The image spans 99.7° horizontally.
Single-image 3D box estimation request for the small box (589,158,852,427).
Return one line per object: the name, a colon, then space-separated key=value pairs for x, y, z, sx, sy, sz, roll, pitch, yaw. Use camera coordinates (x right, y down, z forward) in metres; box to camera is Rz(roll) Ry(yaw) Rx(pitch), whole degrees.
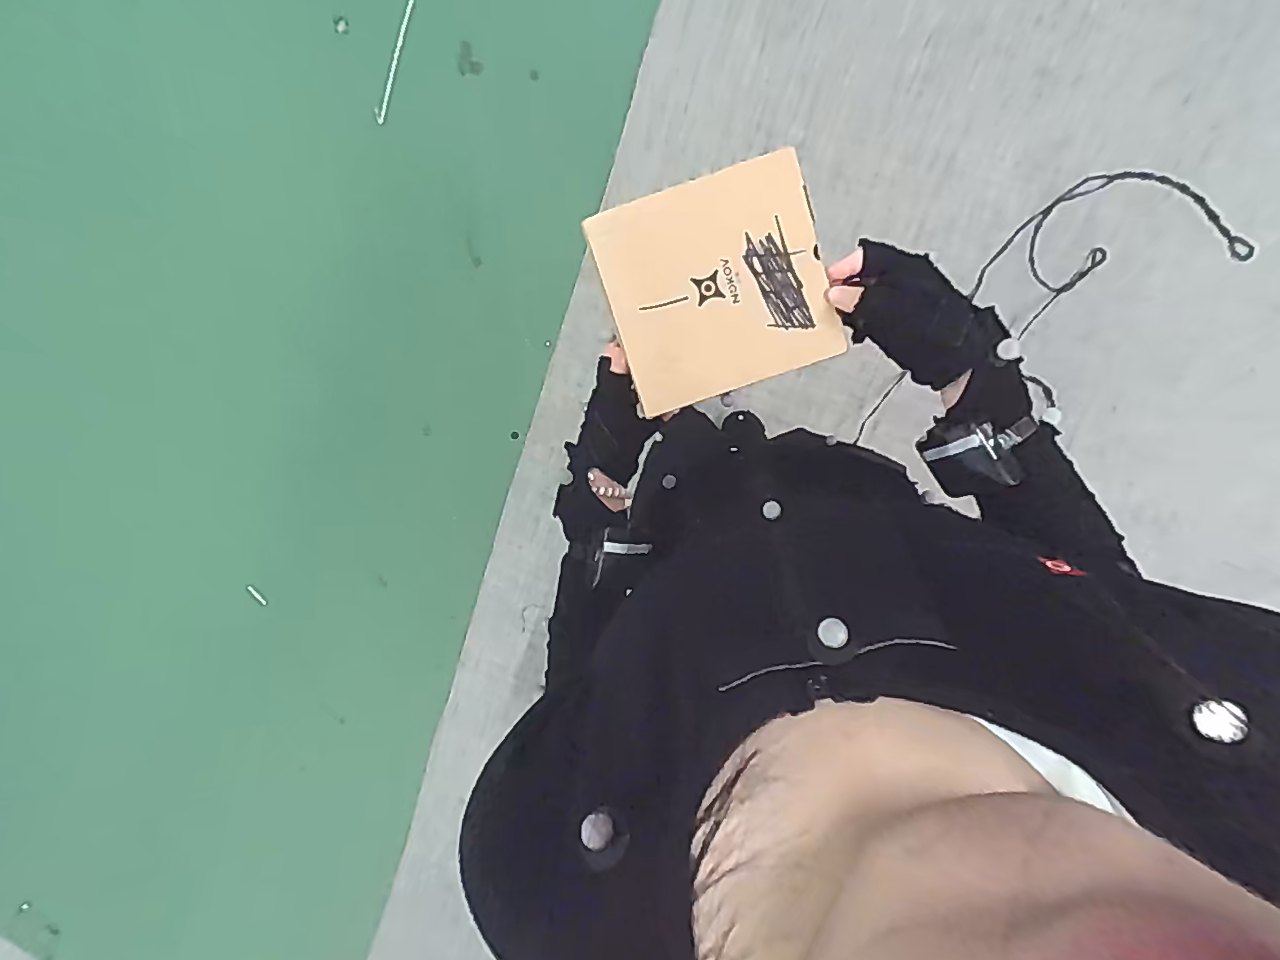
small box: x=0.064 y=-0.157 z=0.504 sx=0.179 sy=0.176 sz=0.168 roll=-18 pitch=98 yaw=3
